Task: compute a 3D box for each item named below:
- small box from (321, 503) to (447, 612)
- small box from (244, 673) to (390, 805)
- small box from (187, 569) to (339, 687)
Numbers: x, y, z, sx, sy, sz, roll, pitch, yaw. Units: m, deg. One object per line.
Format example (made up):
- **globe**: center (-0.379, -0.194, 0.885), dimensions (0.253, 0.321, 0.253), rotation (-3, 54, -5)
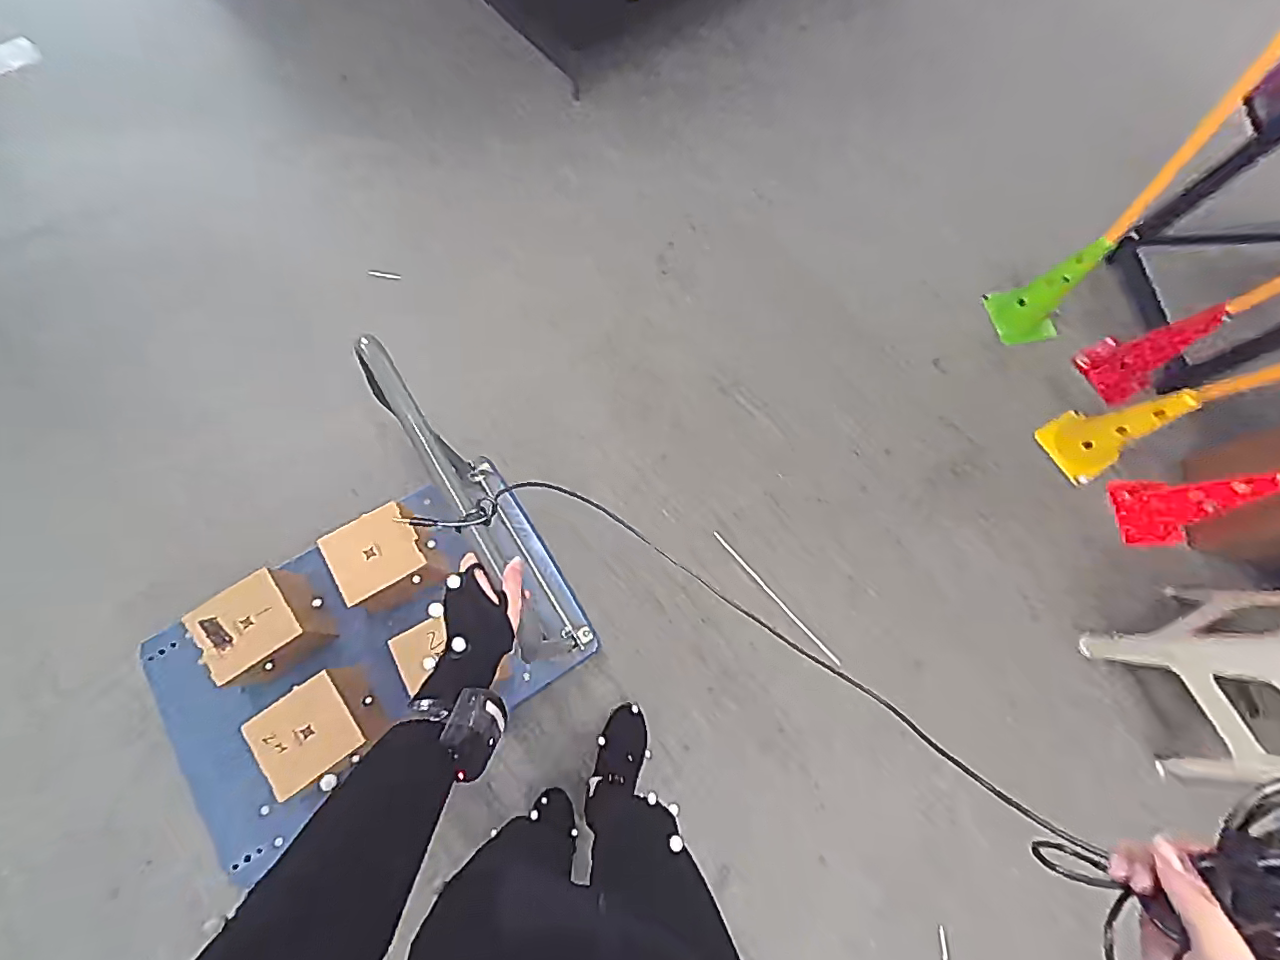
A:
- **small box**: center (-0.563, 0.180, 1.211), dimensions (0.179, 0.176, 0.168), rotation (-30, 77, -13)
- **small box**: center (-0.637, 0.510, 1.098), dimensions (0.179, 0.176, 0.168), rotation (-34, 77, -14)
- **small box**: center (-0.789, 0.315, 1.149), dimensions (0.179, 0.176, 0.168), rotation (-34, 78, -15)
